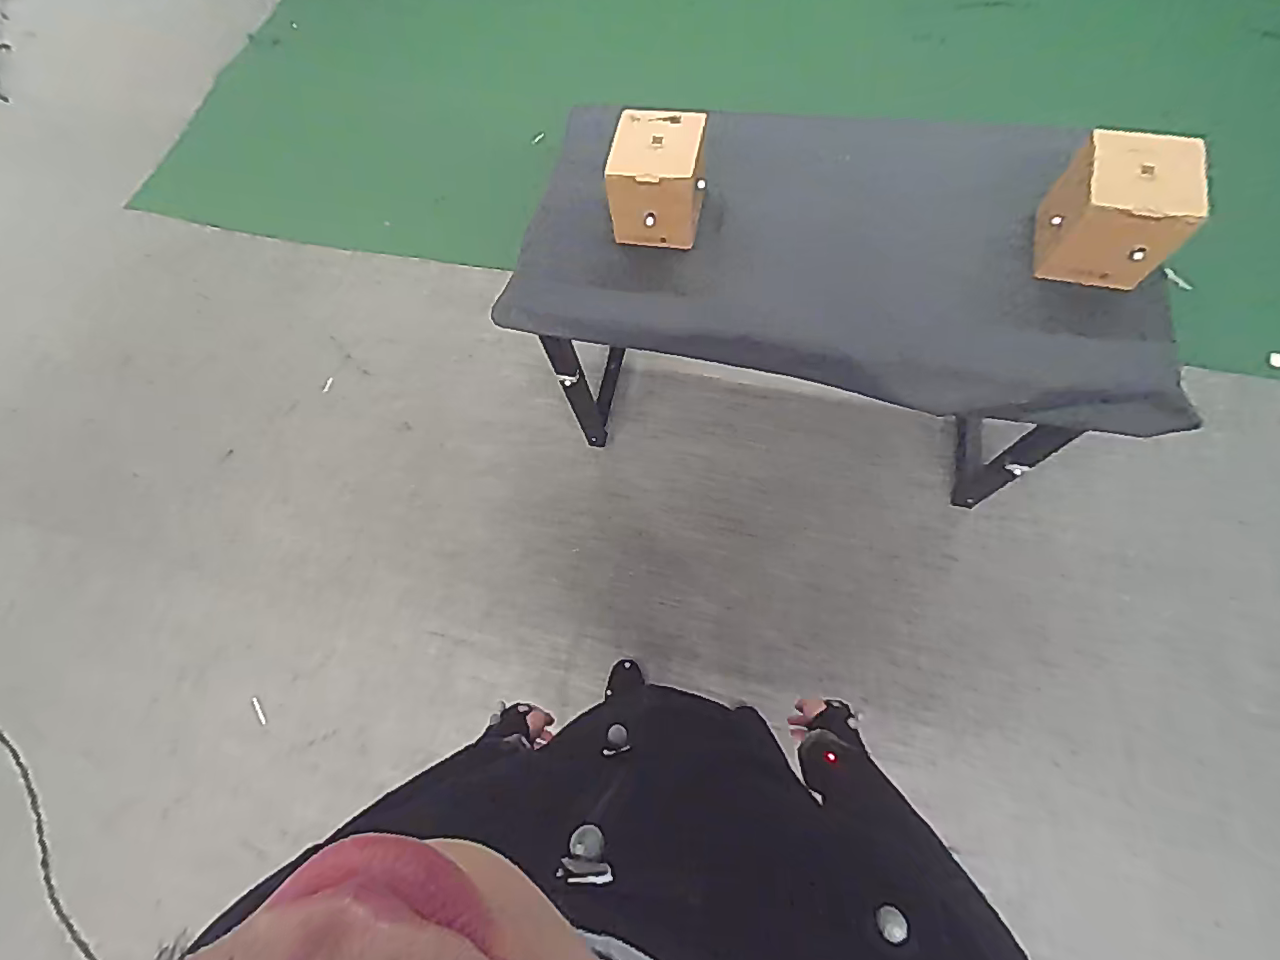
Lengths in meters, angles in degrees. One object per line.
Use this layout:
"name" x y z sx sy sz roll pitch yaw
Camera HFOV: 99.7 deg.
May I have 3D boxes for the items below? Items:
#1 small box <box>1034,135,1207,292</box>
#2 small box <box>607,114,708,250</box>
"small box" 0.827 -0.460 0.948 0.168 0.176 0.179 14 70 10
"small box" 0.042 -0.591 1.086 0.168 0.176 0.179 9 71 9
